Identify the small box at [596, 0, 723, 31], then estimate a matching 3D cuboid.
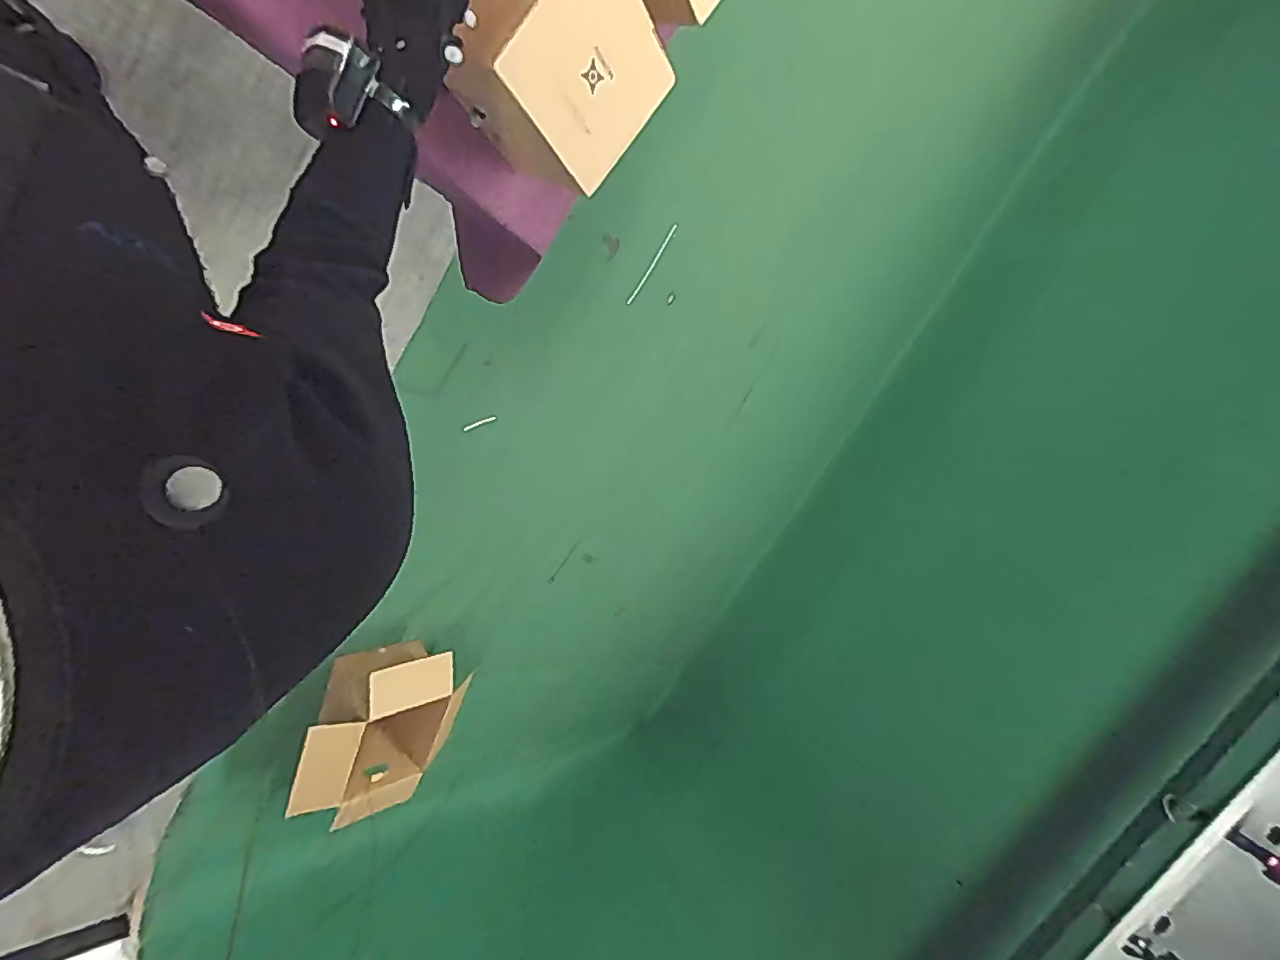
[{"bbox_3d":[0.027,-0.649,0.596,0.179,0.176,0.168,-54,145,3],"label":"small box"}]
